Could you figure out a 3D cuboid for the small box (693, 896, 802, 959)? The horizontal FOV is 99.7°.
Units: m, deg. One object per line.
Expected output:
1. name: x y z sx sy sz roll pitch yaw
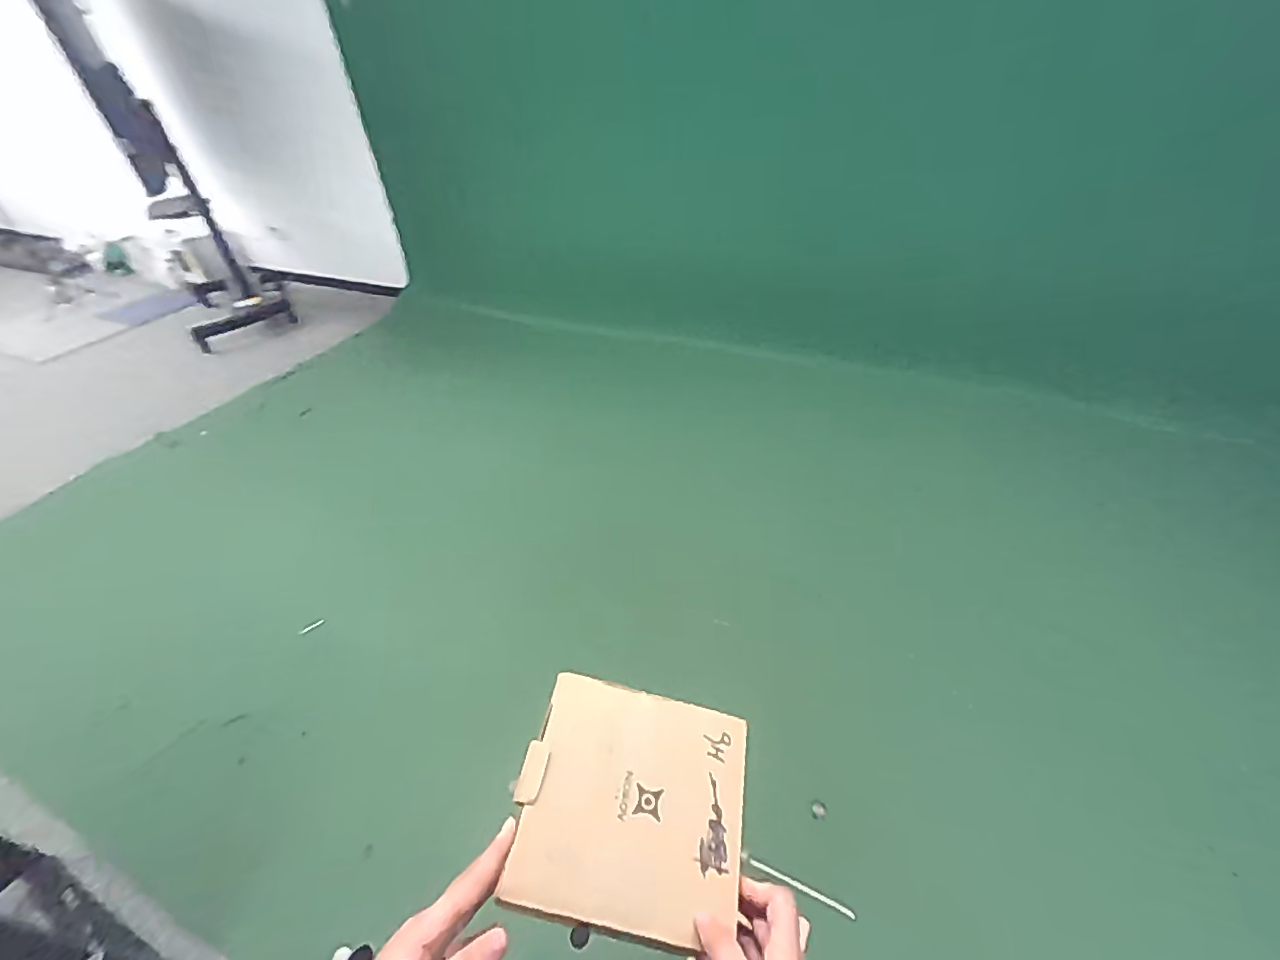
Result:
1. small box: 0.195 0.962 1.047 0.179 0.176 0.168 18 45 24
